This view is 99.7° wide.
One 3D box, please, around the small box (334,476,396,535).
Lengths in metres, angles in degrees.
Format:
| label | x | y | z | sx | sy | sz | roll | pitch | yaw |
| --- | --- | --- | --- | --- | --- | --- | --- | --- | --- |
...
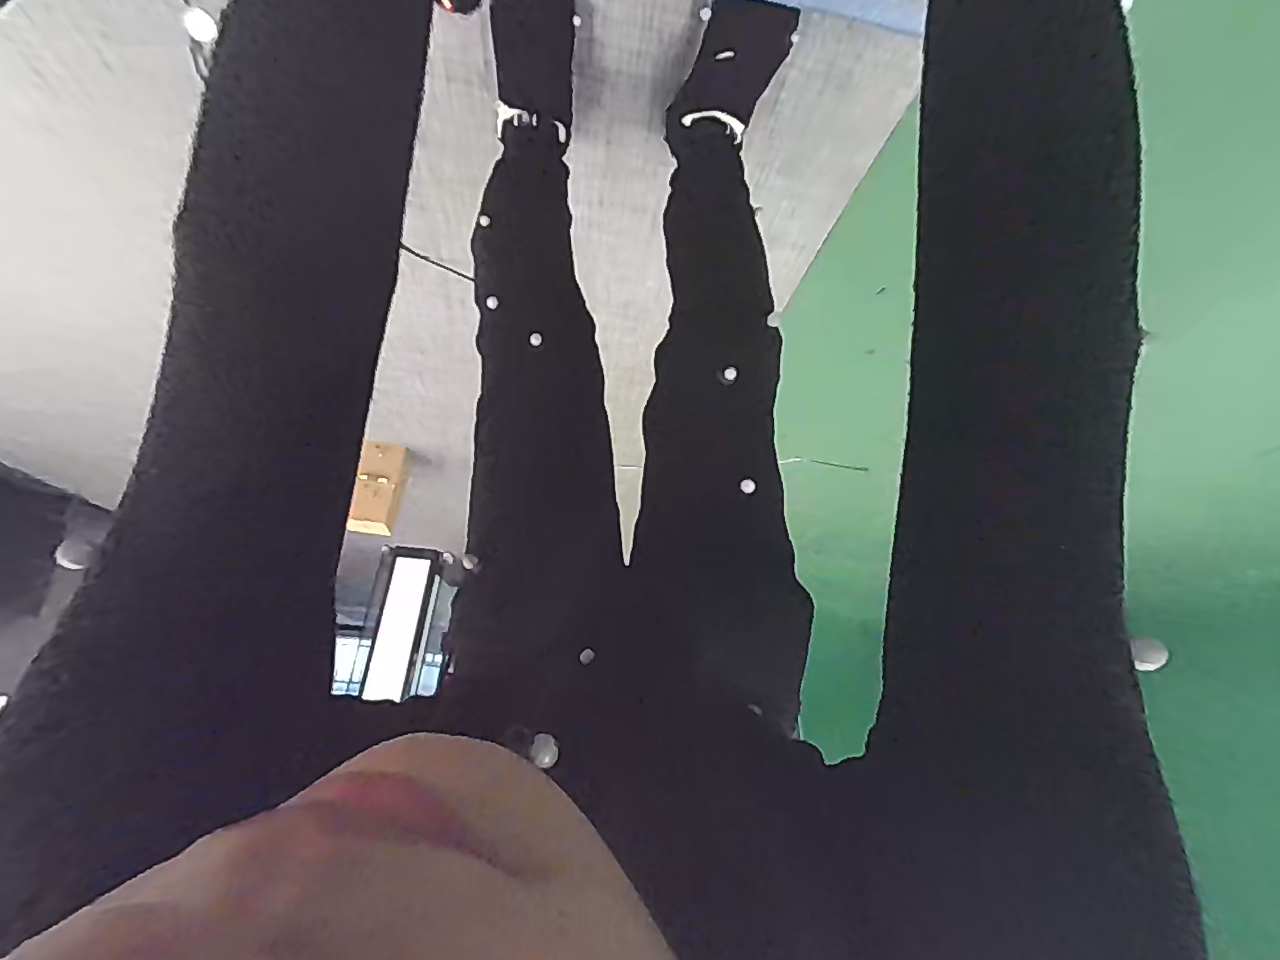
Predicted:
| label | x | y | z | sx | sy | sz | roll | pitch | yaw |
| --- | --- | --- | --- | --- | --- | --- | --- | --- | --- |
| small box | -1.080 | 0.102 | 2.140 | 0.168 | 0.176 | 0.179 | 11 | 156 | -13 |

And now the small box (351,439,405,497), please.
| label | x | y | z | sx | sy | sz | roll | pitch | yaw |
| --- | --- | --- | --- | --- | --- | --- | --- | --- | --- |
| small box | -1.060 | -0.045 | 2.199 | 0.168 | 0.176 | 0.179 | 10 | 156 | -19 |
